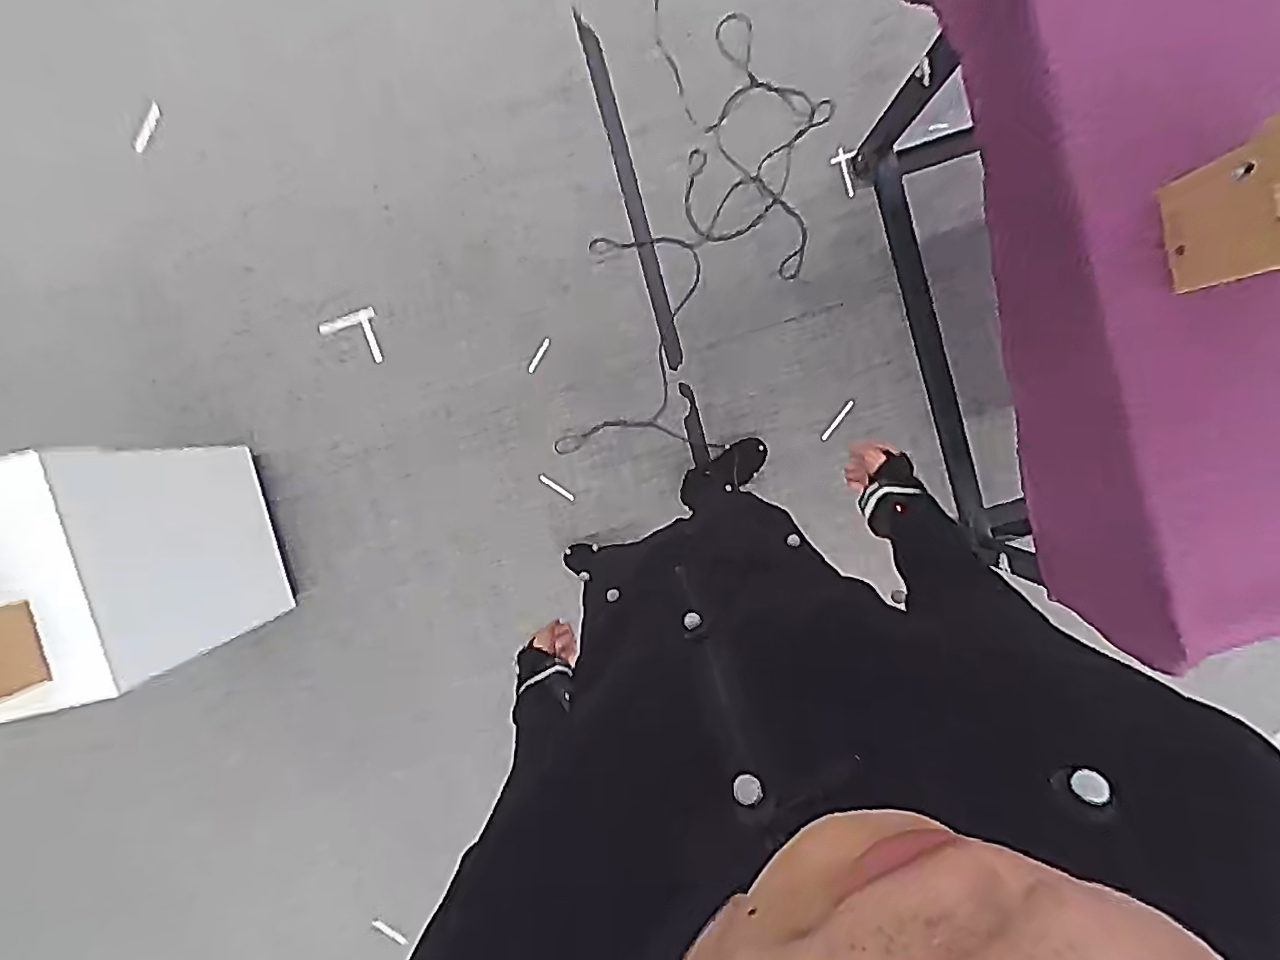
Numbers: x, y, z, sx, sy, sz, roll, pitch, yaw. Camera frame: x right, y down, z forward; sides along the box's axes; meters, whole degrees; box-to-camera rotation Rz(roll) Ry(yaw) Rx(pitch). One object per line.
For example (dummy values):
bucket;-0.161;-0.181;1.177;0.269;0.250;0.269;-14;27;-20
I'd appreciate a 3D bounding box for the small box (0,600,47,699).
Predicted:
small box;-1.293;0.345;1.017;0.168;0.176;0.179;-12;94;2
